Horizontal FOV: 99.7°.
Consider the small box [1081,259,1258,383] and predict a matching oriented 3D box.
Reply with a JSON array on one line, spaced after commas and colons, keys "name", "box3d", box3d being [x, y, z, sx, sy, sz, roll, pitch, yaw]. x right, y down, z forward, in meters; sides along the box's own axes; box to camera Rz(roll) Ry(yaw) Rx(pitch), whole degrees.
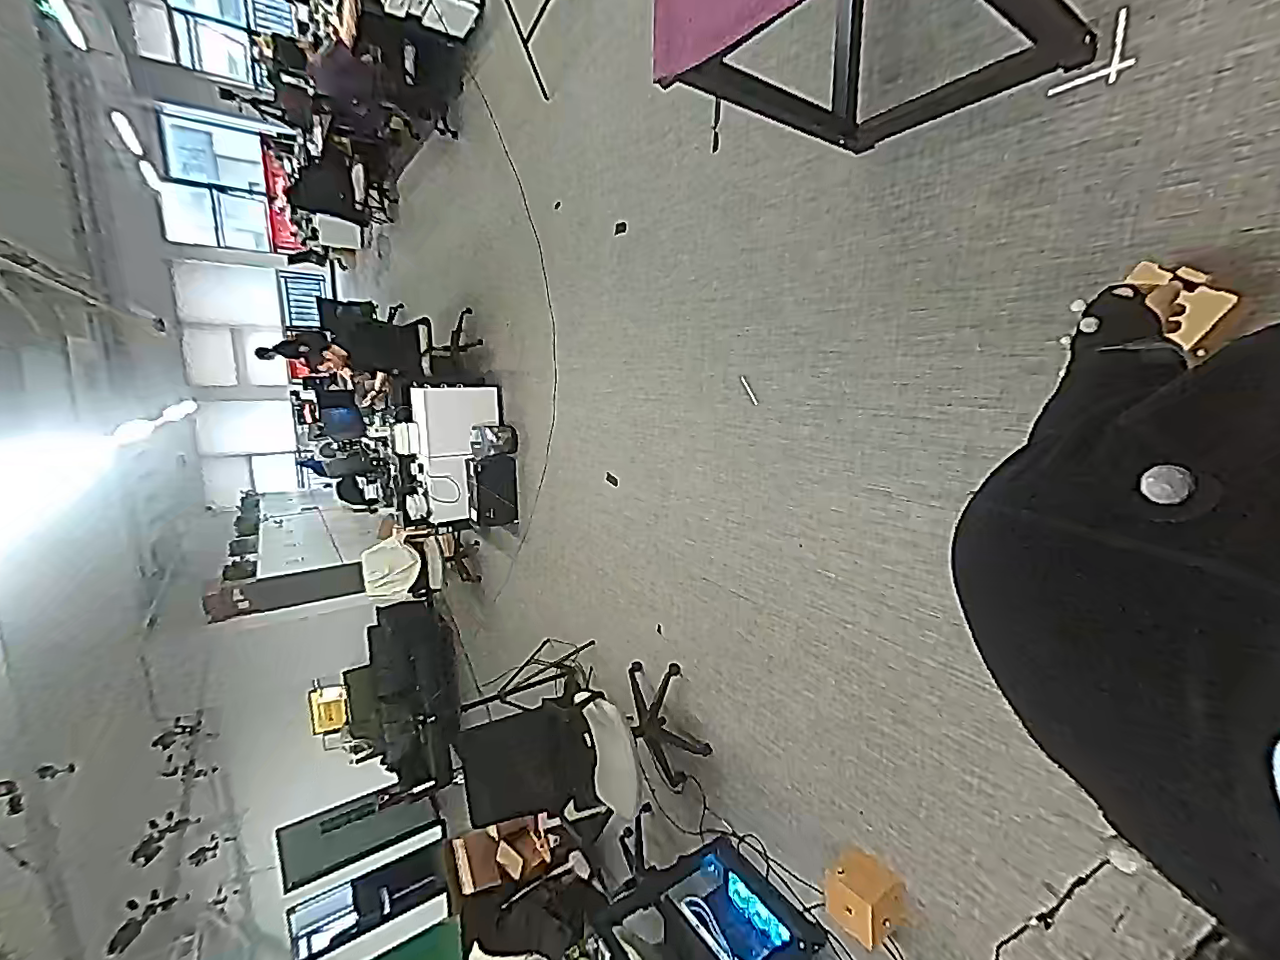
[{"name": "small box", "box3d": [1.032, -0.304, 1.055, 0.168, 0.176, 0.179, 54, 136, 36]}]
